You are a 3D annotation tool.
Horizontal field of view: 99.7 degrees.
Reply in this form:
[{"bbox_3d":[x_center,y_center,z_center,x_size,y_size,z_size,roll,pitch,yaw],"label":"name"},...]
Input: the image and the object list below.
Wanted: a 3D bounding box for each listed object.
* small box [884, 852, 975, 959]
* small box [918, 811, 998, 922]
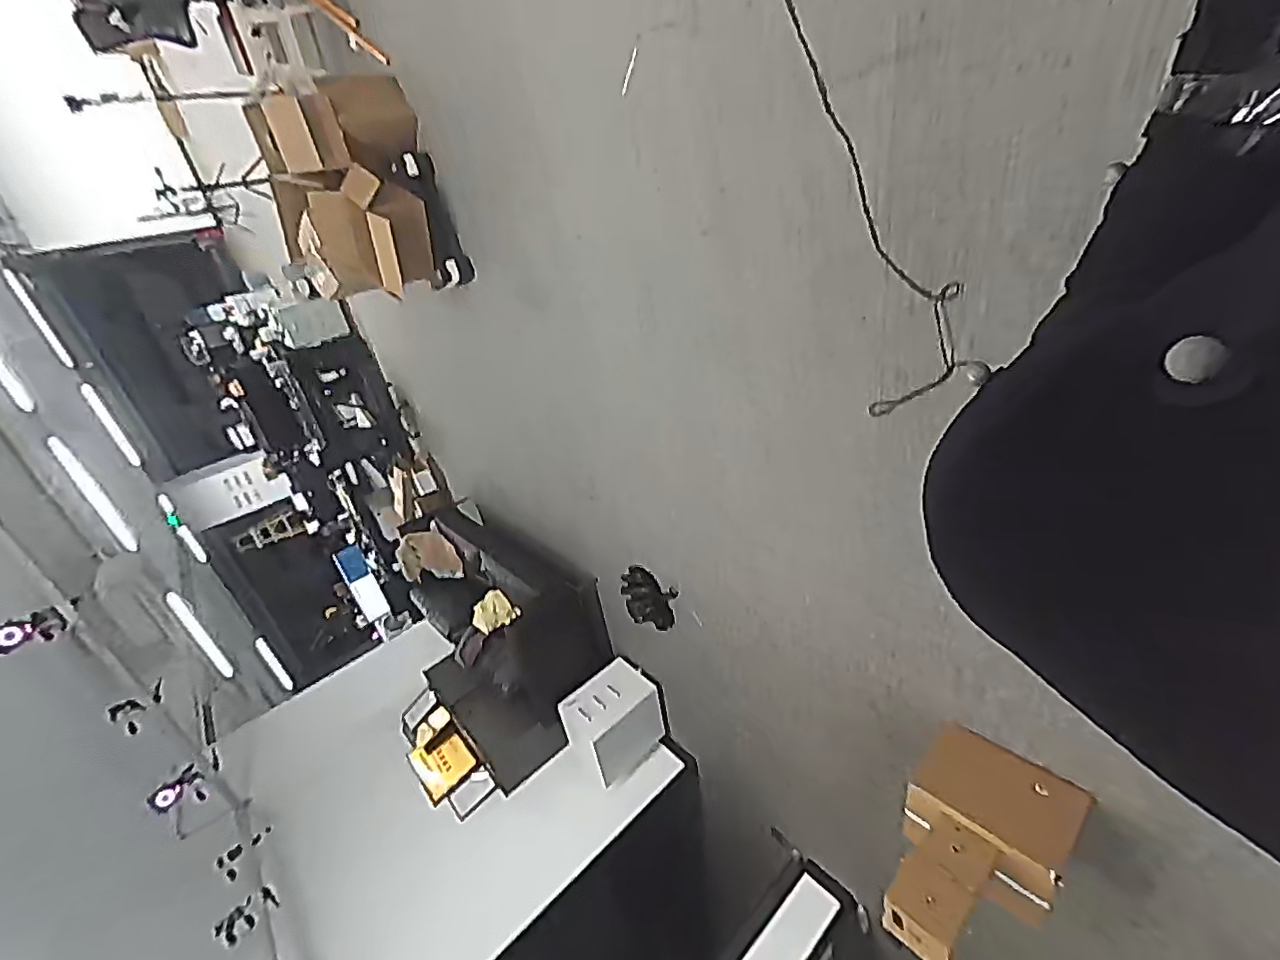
[{"bbox_3d":[0.822,1.212,1.542,0.179,0.176,0.168,18,129,49],"label":"small box"},{"bbox_3d":[0.951,1.150,1.624,0.168,0.176,0.179,18,129,47],"label":"small box"}]
